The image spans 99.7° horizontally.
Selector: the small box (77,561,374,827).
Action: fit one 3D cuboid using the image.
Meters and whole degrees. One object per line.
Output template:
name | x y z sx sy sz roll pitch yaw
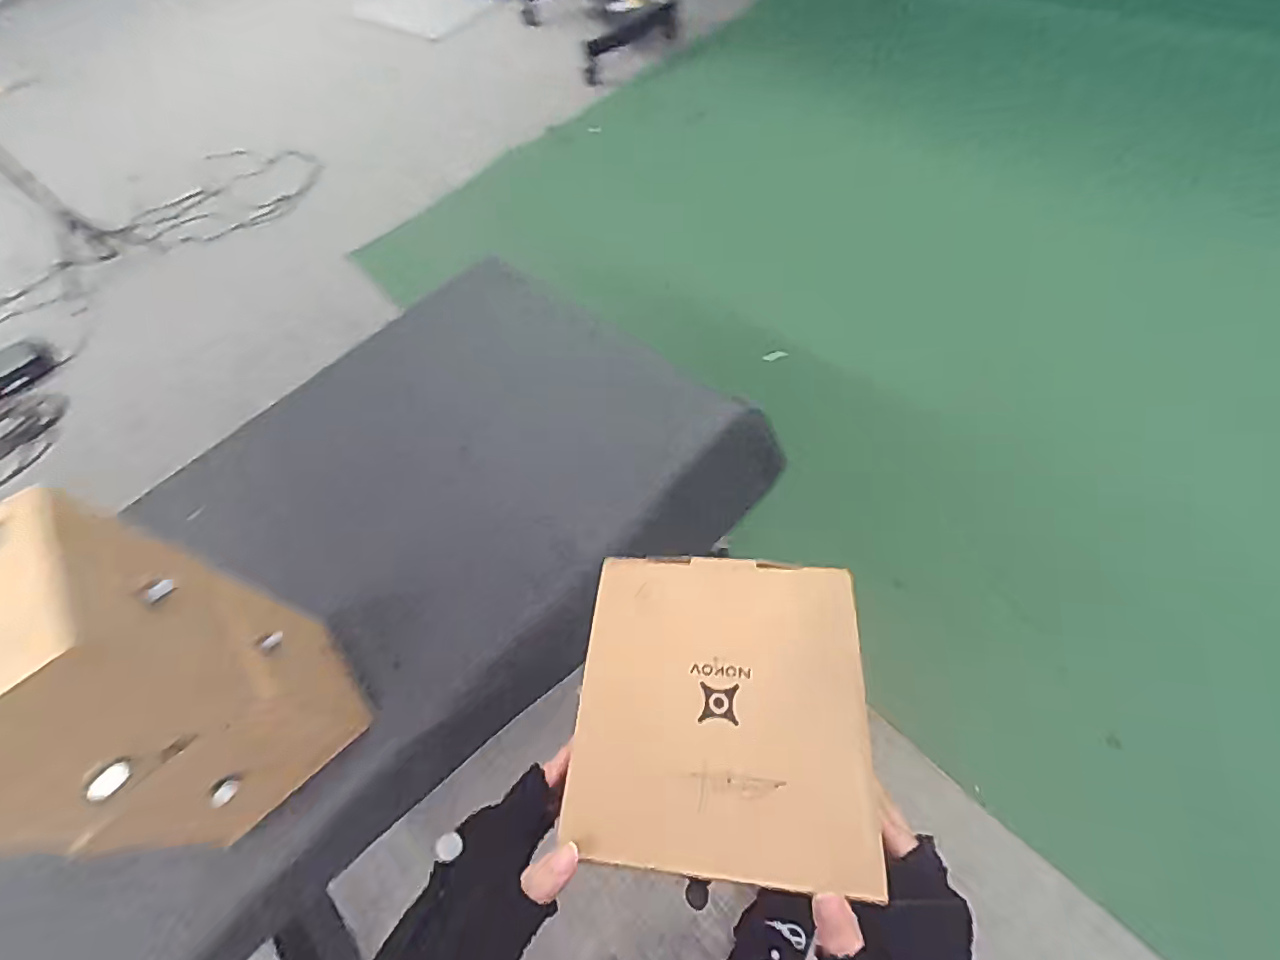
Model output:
small box | -0.421 0.224 0.560 0.179 0.176 0.168 -39 60 -15
